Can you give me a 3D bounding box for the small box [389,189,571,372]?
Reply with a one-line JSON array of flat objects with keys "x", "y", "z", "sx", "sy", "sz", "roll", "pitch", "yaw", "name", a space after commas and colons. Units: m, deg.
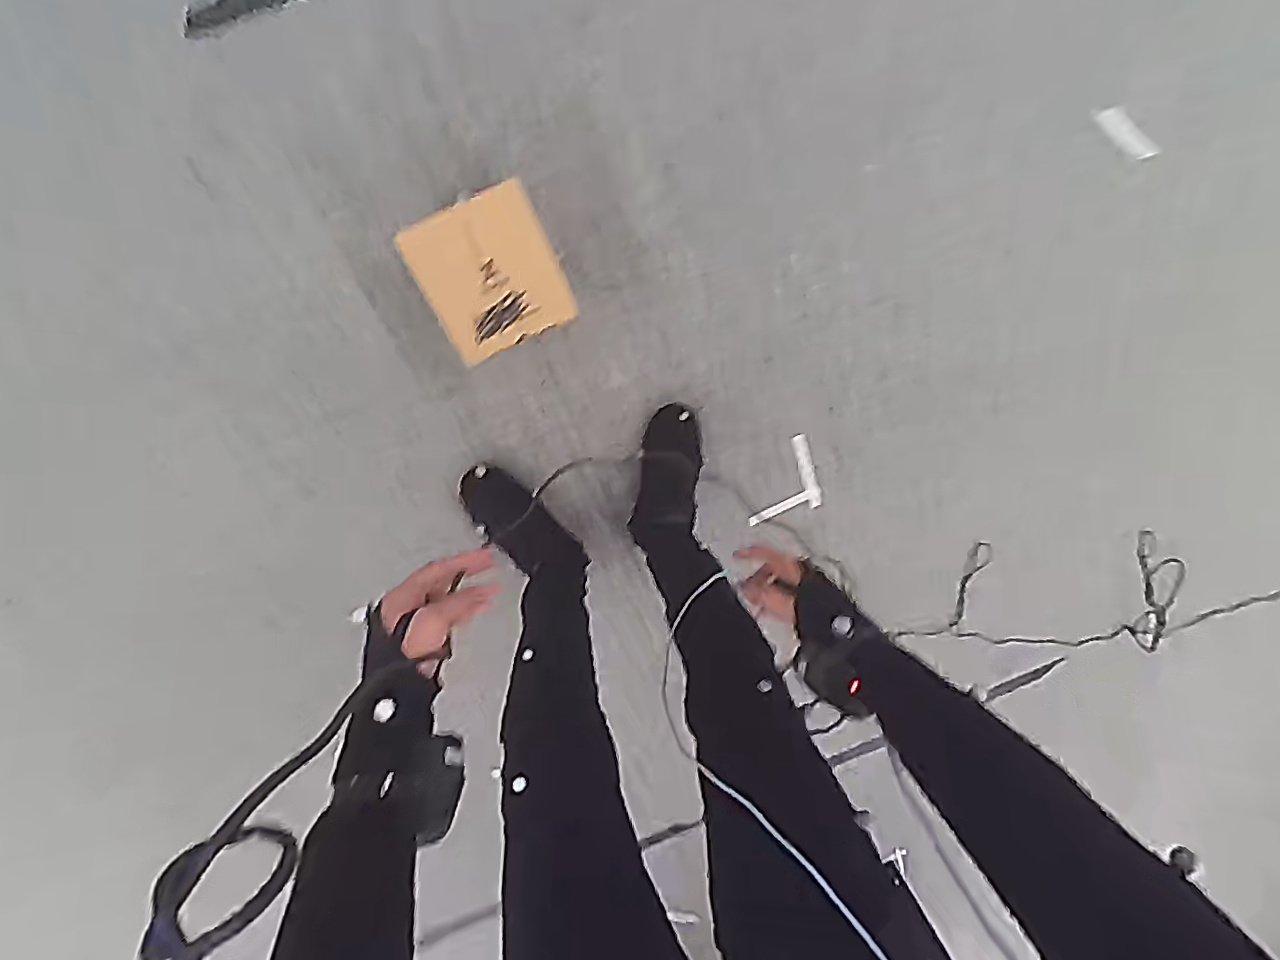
[{"x": -0.211, "y": -0.278, "z": 0.752, "sx": 0.168, "sy": 0.176, "sz": 0.179, "roll": -26, "pitch": 116, "yaw": -1, "name": "small box"}]
